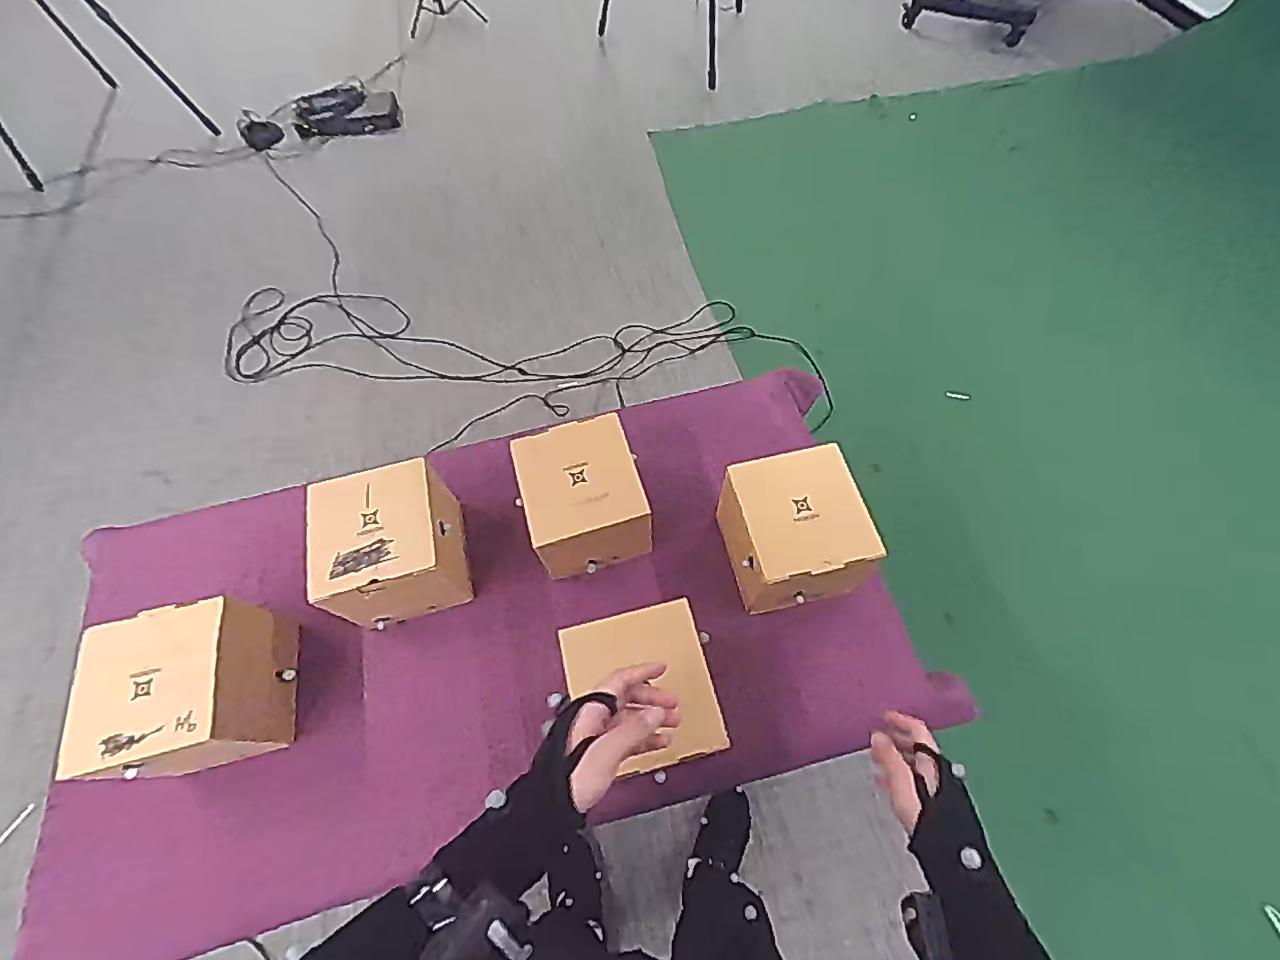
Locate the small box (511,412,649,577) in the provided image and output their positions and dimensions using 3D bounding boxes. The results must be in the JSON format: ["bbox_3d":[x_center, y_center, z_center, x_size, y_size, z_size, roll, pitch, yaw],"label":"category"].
[{"bbox_3d":[-0.088,0.027,0.832,0.168,0.176,0.179,-15,64,-6],"label":"small box"}]

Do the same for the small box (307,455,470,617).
[{"bbox_3d":[-0.363,0.093,0.802,0.168,0.176,0.179,-14,63,-6],"label":"small box"}]

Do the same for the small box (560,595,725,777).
[{"bbox_3d":[-0.001,0.272,0.701,0.168,0.176,0.179,-13,62,-5],"label":"small box"}]

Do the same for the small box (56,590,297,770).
[{"bbox_3d":[-0.584,0.269,0.713,0.168,0.176,0.179,-14,63,-4],"label":"small box"}]

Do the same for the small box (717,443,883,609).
[{"bbox_3d":[0.219,0.073,0.801,0.168,0.176,0.179,-12,64,-4],"label":"small box"}]
